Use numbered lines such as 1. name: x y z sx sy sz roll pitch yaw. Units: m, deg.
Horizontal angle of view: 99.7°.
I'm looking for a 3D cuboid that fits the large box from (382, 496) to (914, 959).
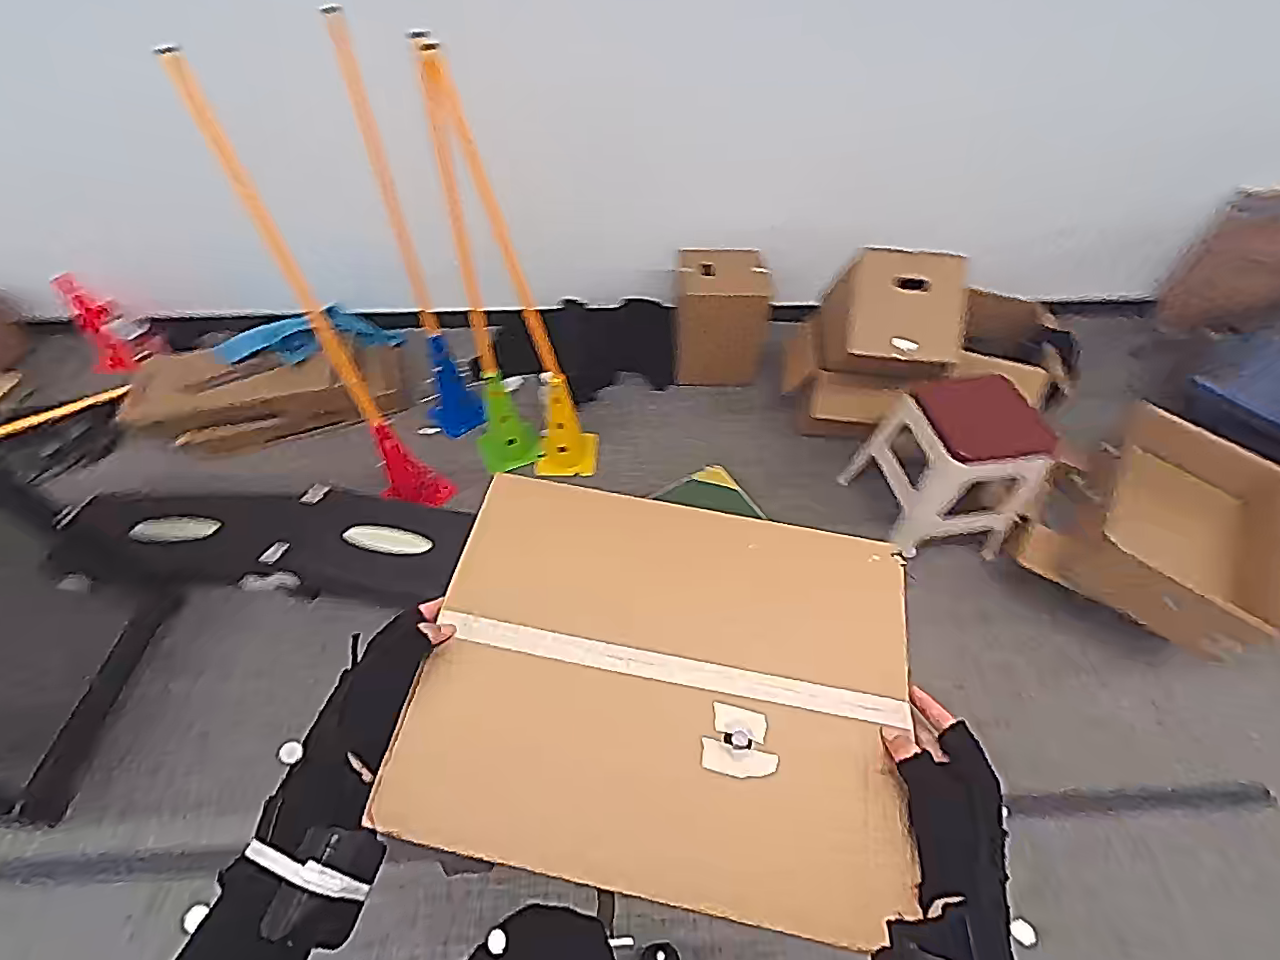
1. large box: 0.021 0.253 0.594 0.408 0.320 0.320 11 60 5
